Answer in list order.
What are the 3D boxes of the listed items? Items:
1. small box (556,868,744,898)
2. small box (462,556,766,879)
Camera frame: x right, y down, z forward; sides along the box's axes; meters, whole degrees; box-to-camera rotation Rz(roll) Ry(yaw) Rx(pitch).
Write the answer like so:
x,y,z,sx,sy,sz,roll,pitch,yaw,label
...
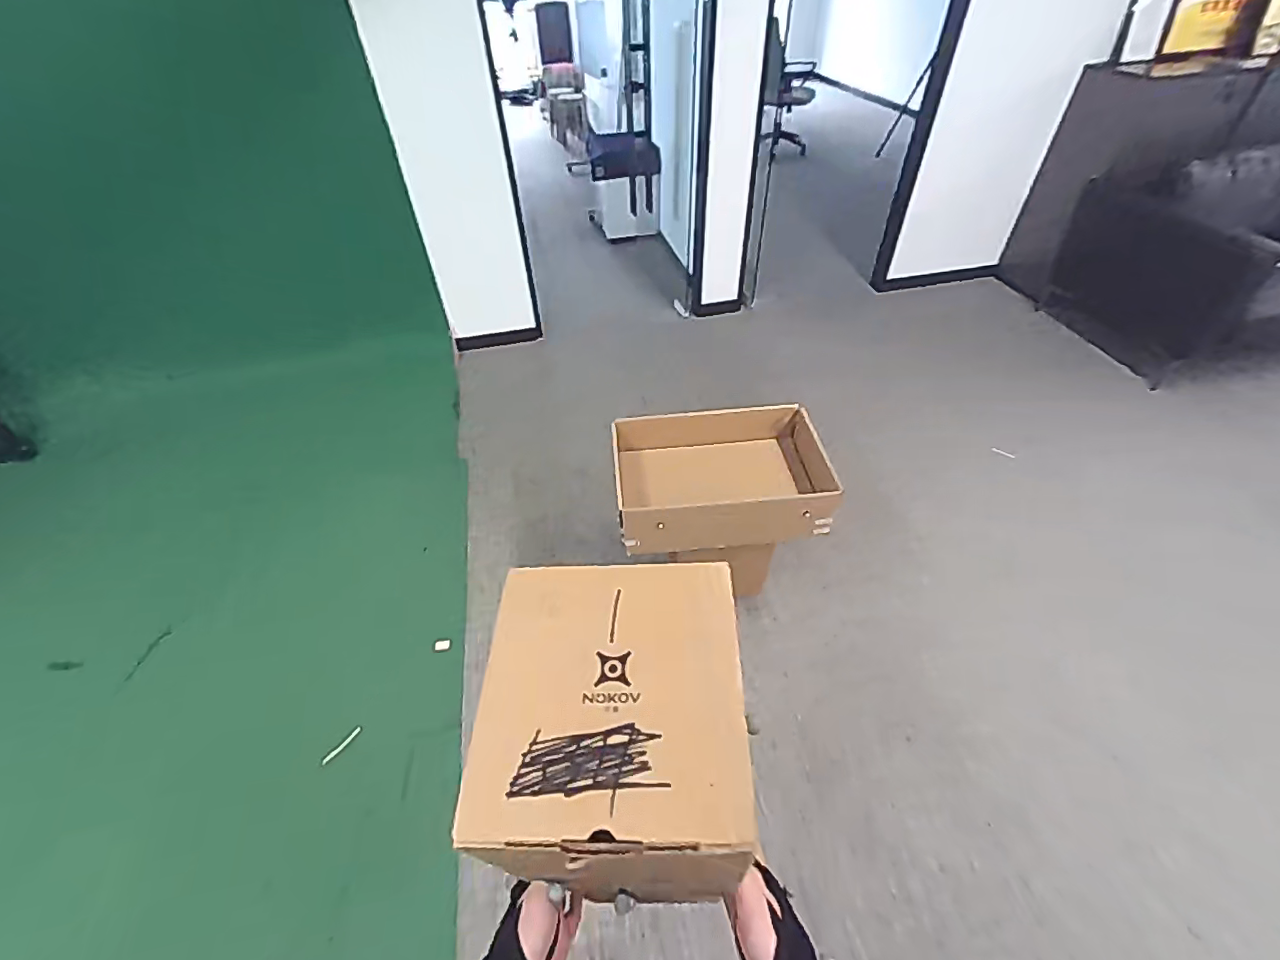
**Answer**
x,y,z,sx,sy,sz,roll,pitch,yaw,label
0.005,0.280,0.519,0.168,0.176,0.179,0,49,4,small box
-0.005,0.174,0.394,0.168,0.176,0.179,-1,47,4,small box
